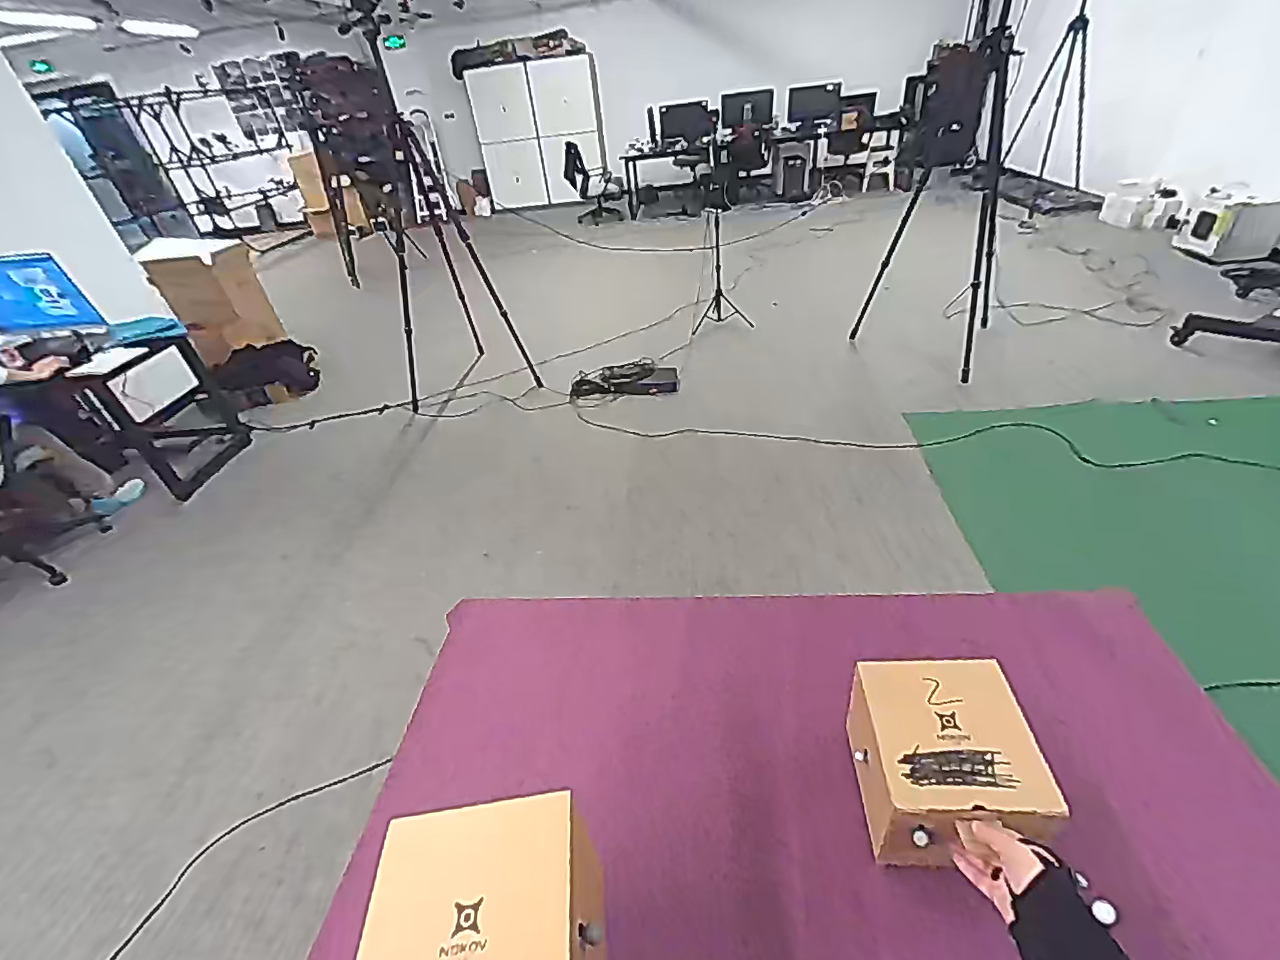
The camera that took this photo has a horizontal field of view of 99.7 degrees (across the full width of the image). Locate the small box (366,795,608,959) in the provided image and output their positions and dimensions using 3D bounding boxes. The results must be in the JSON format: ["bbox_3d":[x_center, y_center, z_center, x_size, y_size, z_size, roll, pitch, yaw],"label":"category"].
[{"bbox_3d":[-0.123,0.416,0.476,0.168,0.176,0.179,-10,37,0],"label":"small box"}]
